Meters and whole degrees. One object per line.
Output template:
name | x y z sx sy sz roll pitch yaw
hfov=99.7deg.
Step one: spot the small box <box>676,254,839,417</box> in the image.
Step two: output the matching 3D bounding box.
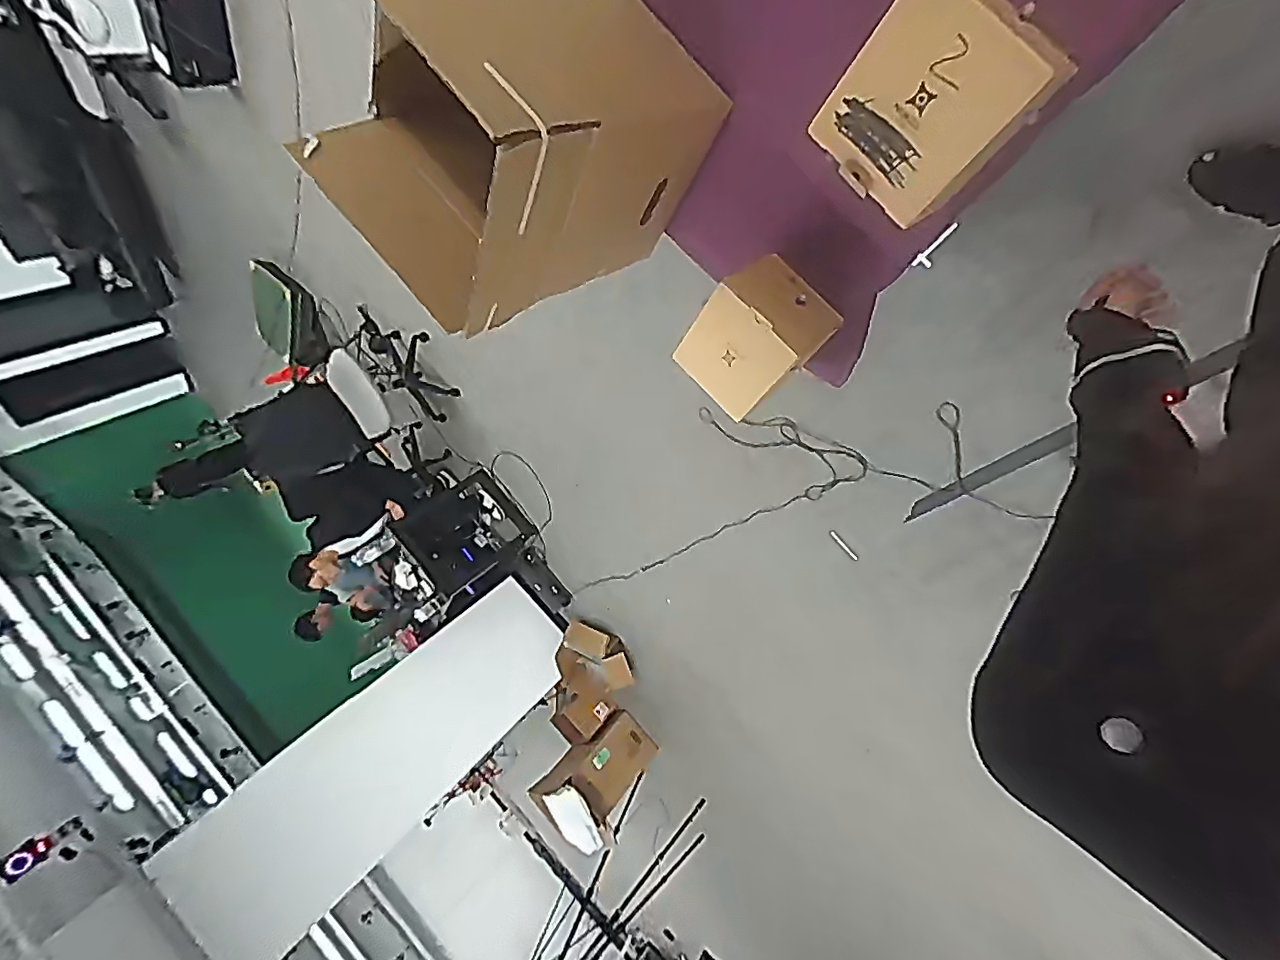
small box | 0.197 -0.243 0.908 0.168 0.176 0.179 46 142 7
